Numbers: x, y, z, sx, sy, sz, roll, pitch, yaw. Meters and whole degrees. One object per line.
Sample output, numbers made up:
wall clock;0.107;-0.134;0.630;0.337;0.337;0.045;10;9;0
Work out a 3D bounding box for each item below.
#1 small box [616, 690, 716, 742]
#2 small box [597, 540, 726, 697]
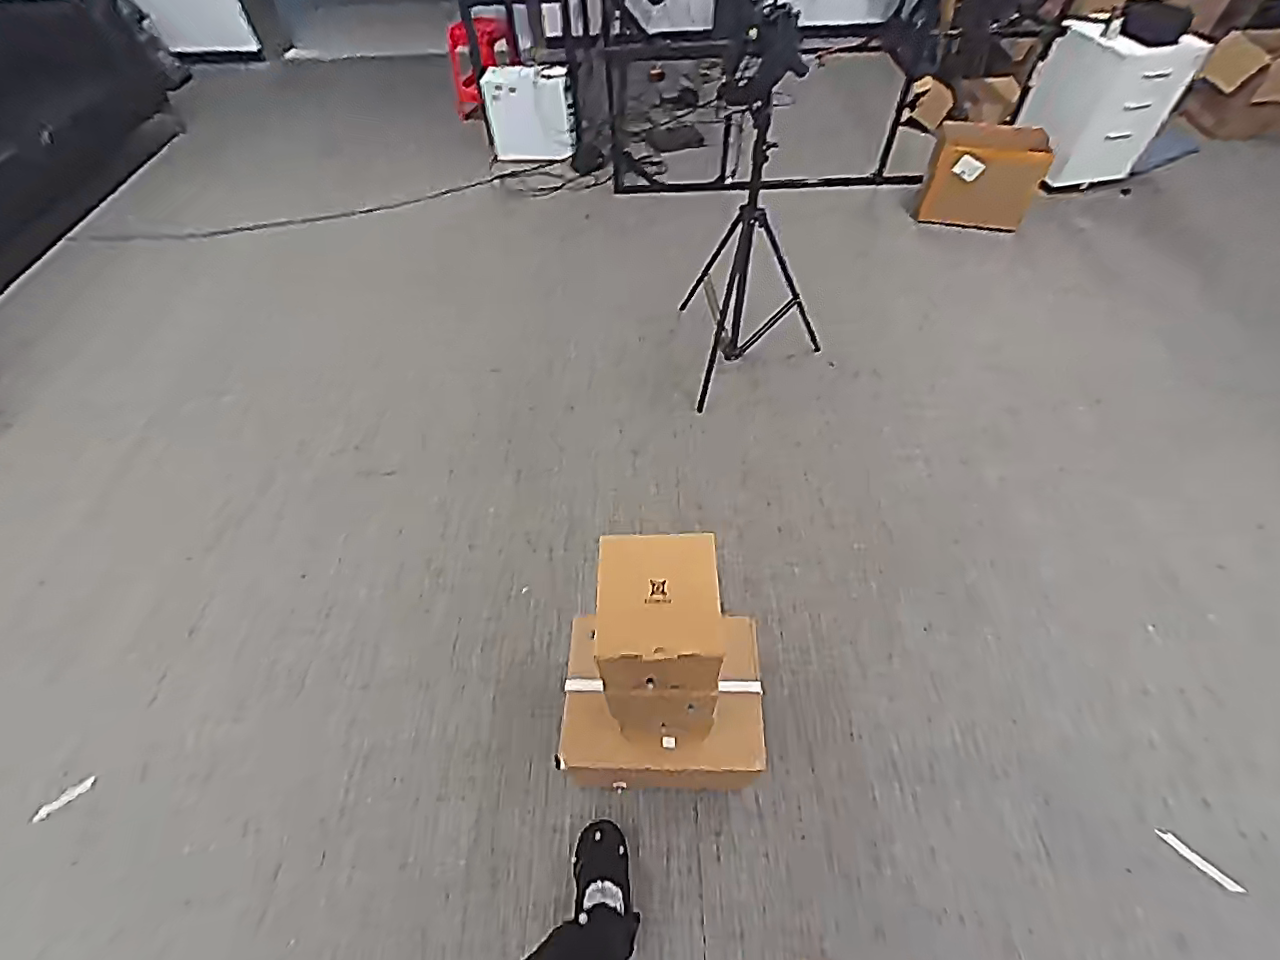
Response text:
small box;0.047;0.404;1.047;0.179;0.176;0.168;-2;55;0
small box;0.027;0.204;0.789;0.168;0.176;0.179;-2;55;1
